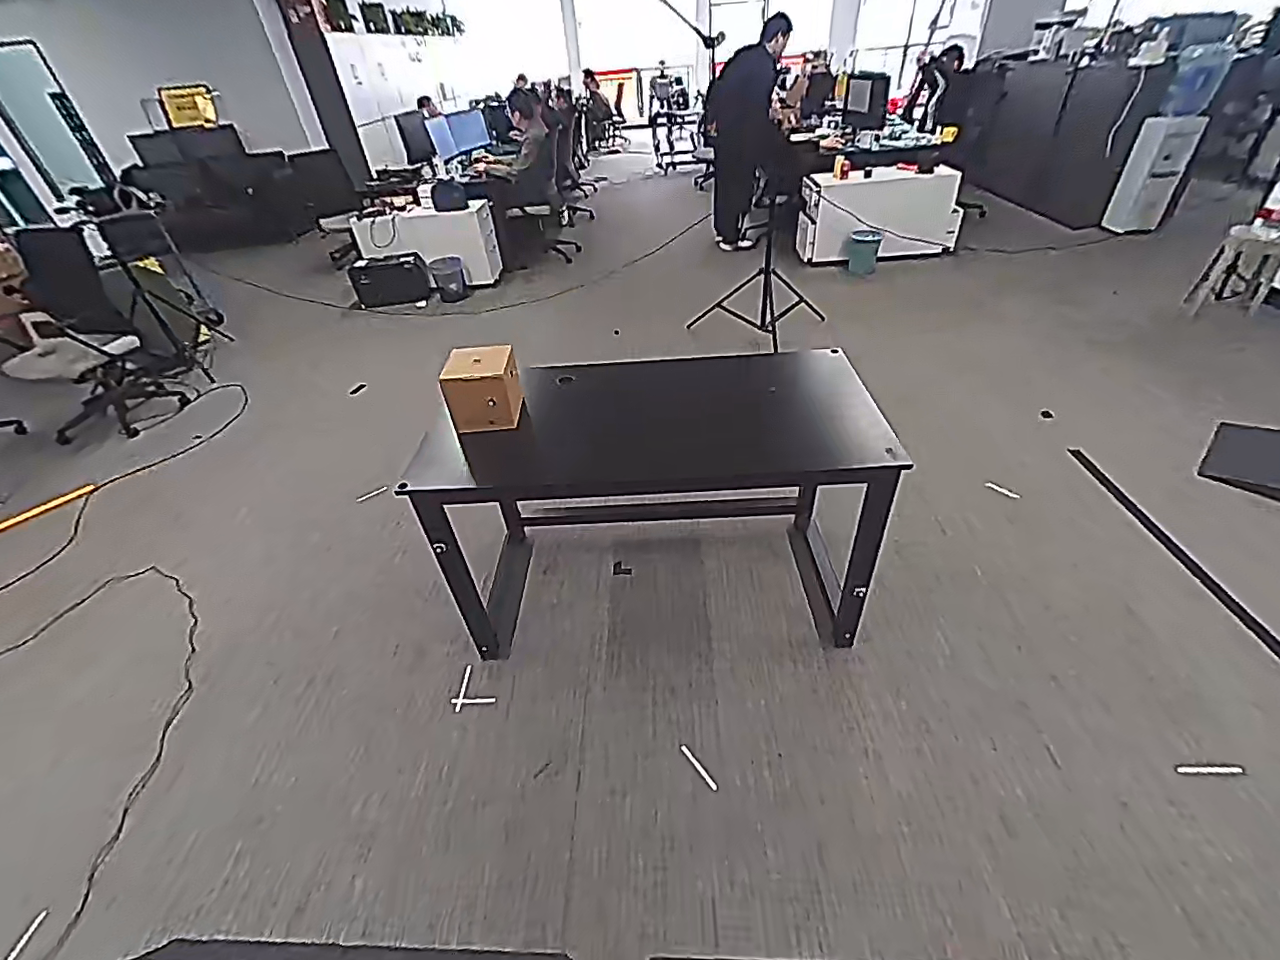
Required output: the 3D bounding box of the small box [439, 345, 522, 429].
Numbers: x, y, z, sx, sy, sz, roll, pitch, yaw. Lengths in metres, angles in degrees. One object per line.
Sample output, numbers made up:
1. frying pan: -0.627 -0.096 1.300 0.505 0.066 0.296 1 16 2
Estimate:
1. small box: -0.424 -0.249 1.470 0.168 0.176 0.179 -4 38 -1
